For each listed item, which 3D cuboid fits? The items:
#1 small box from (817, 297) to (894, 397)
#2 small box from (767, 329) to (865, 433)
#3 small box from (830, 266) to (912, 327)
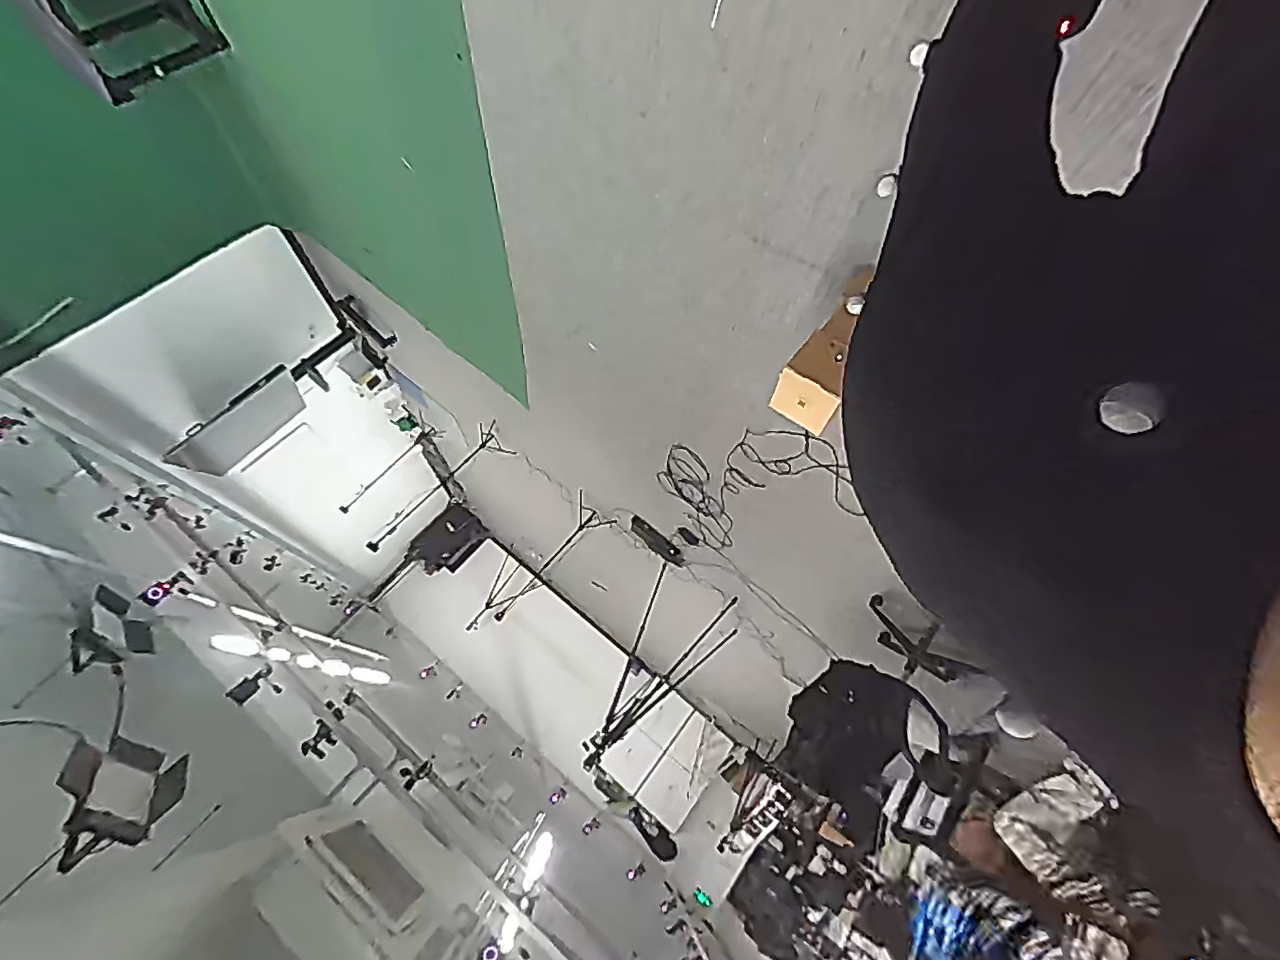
[{"bbox_3d":[0.581,-0.374,1.524,0.168,0.176,0.179,36,156,15],"label":"small box"},{"bbox_3d":[0.475,-0.268,1.461,0.168,0.176,0.179,36,156,16],"label":"small box"},{"bbox_3d":[0.669,-0.495,1.593,0.168,0.176,0.179,35,157,18],"label":"small box"}]
